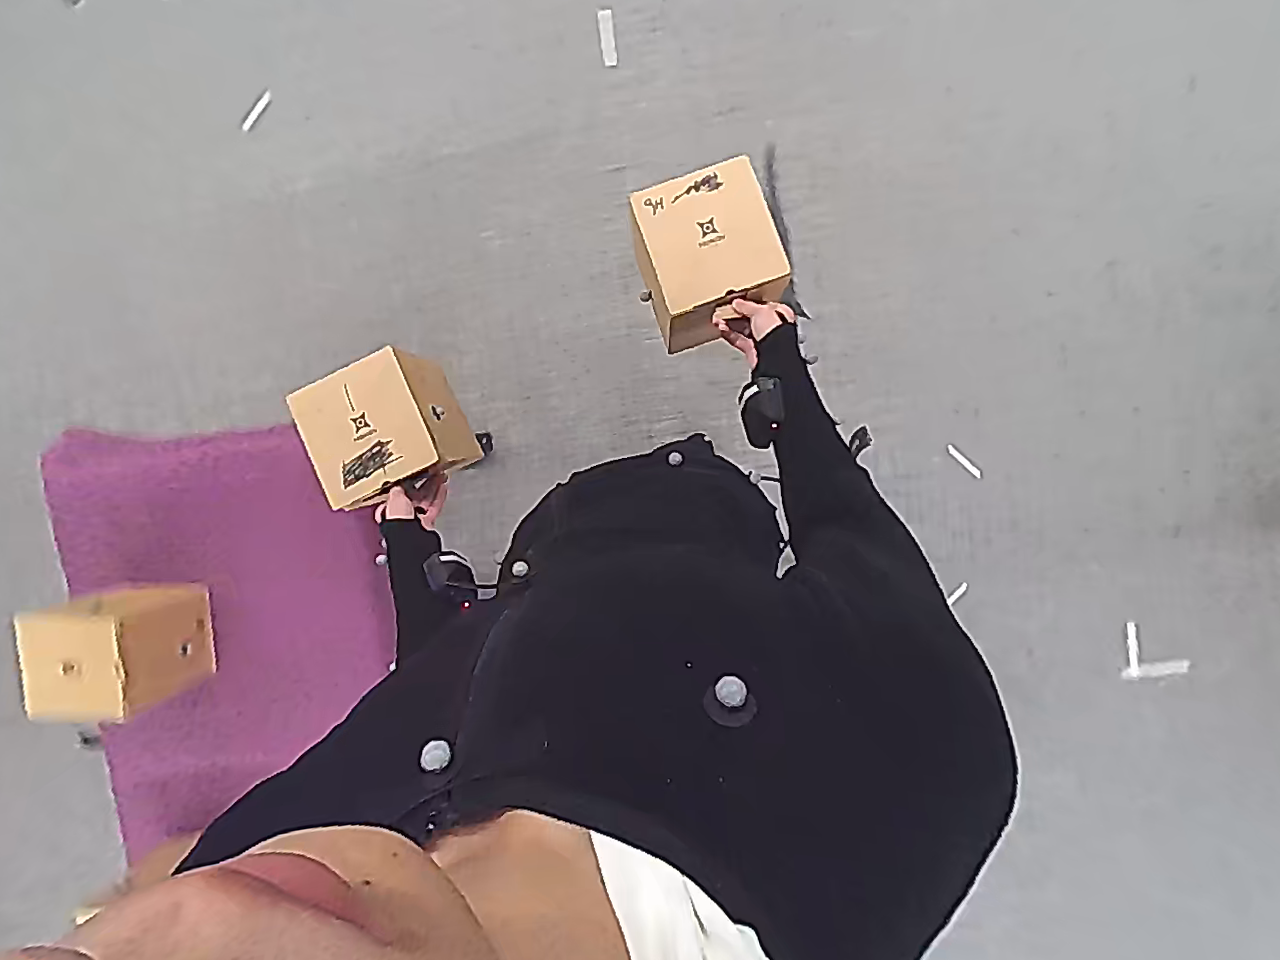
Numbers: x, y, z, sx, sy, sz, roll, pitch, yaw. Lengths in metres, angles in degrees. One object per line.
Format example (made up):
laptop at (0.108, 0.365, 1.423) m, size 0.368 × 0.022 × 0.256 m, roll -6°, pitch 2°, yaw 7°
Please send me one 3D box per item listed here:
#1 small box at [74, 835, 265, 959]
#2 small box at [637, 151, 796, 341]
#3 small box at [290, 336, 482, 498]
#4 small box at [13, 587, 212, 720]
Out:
small box at (-0.820, 0.769, 0.958) m, size 0.179 × 0.176 × 0.168 m, roll -10°, pitch 94°, yaw 6°
small box at (0.101, -0.313, 0.768) m, size 0.168 × 0.176 × 0.179 m, roll -17°, pitch 86°, yaw 1°
small box at (-0.363, -0.090, 0.808) m, size 0.168 × 0.176 × 0.179 m, roll -24°, pitch 93°, yaw 3°
small box at (-0.884, 0.286, 0.922) m, size 0.179 × 0.176 × 0.168 m, roll -1°, pitch 96°, yaw 4°
